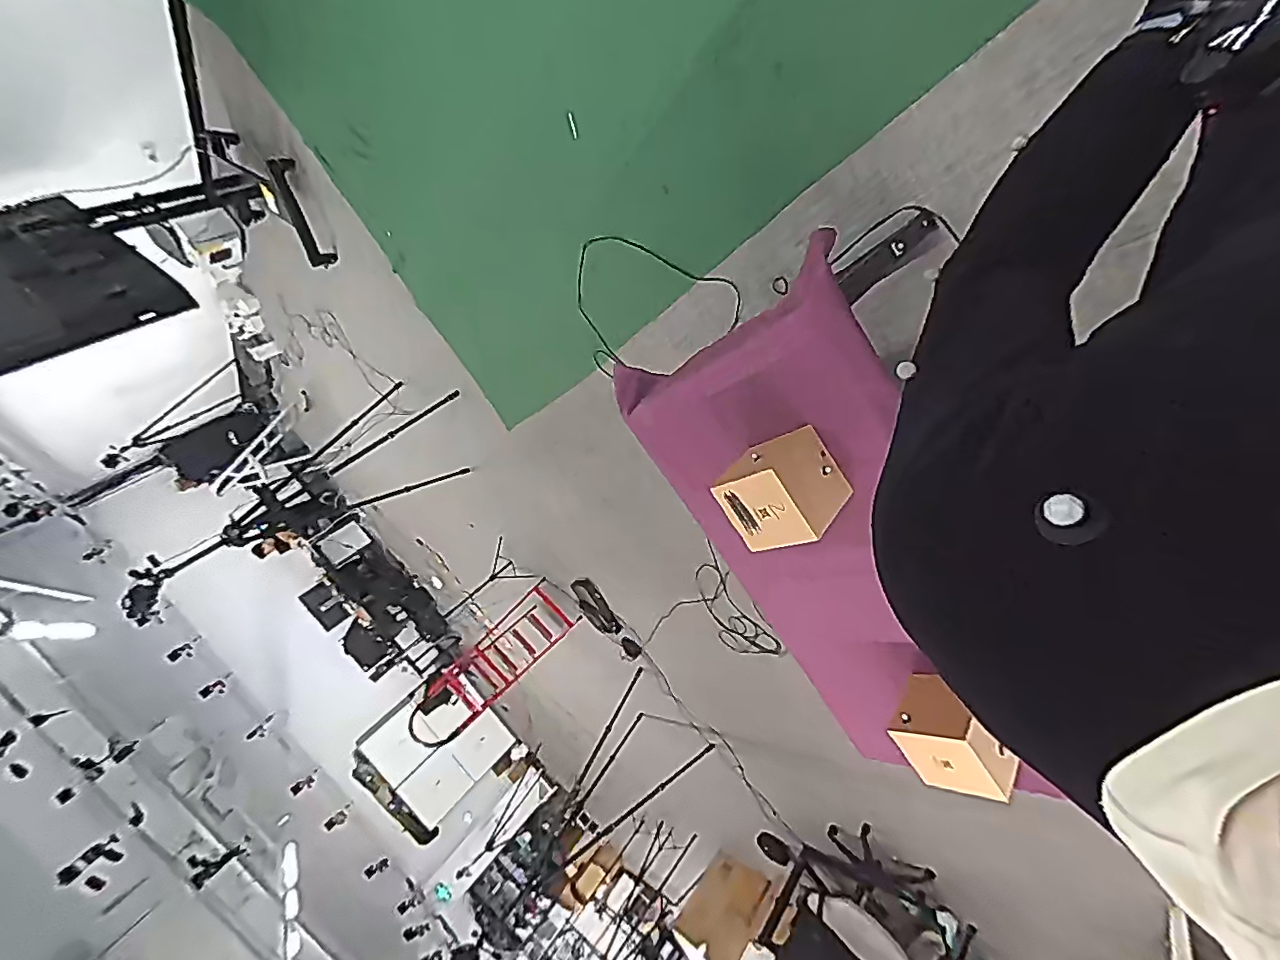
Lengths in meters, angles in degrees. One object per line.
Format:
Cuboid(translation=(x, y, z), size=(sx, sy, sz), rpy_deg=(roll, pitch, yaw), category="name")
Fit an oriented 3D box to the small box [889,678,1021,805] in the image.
Cuboid(translation=(0.674, 0.543, 1.146), size=(0.168, 0.176, 0.179), rpy_deg=(54, 145, -7), category="small box")
